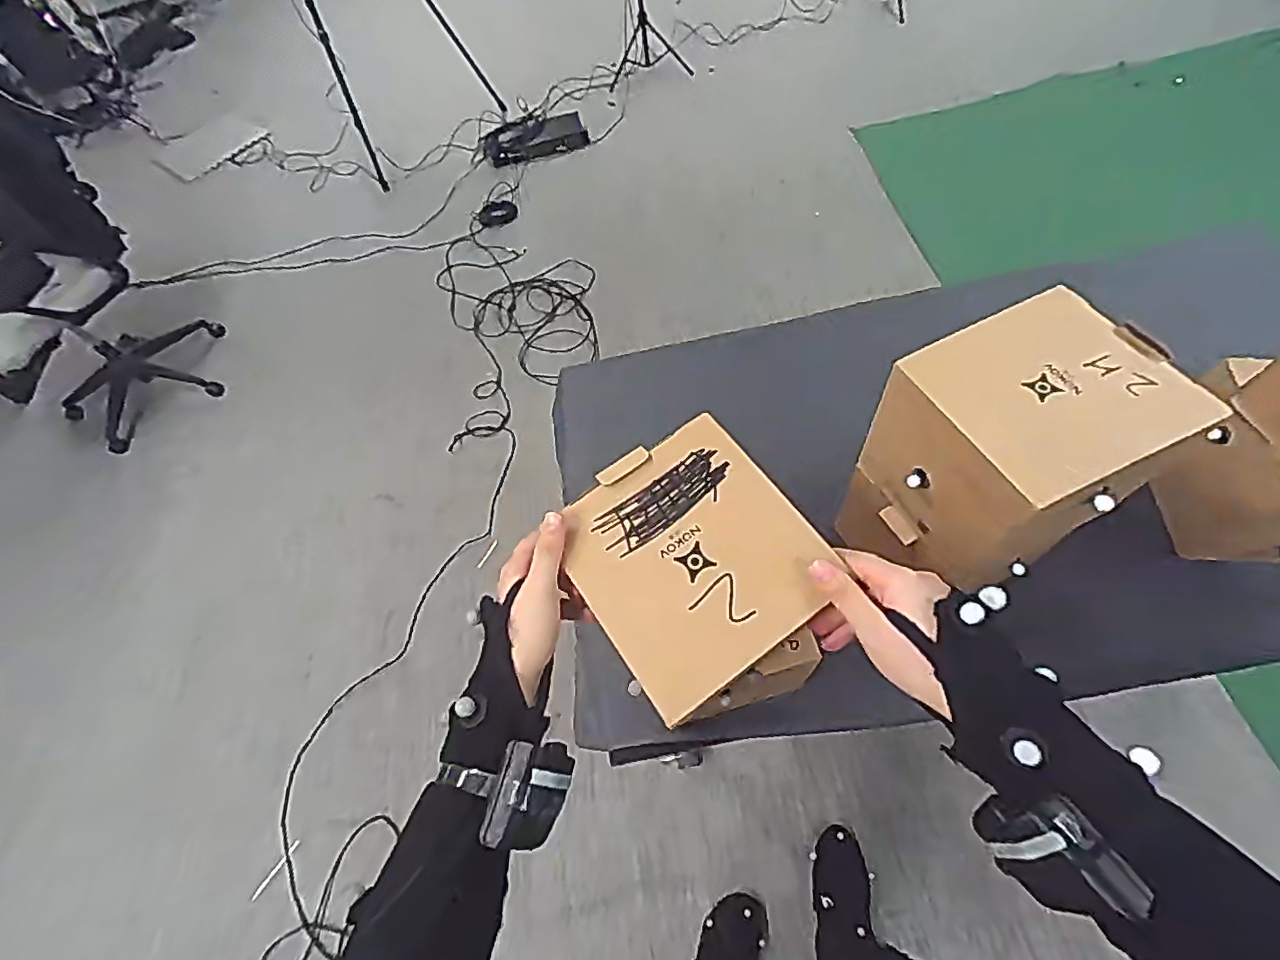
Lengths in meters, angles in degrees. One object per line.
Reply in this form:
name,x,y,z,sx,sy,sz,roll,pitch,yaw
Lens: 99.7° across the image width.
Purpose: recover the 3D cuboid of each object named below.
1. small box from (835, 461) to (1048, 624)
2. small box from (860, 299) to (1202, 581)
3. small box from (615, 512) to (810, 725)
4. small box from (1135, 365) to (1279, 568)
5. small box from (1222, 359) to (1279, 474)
small box,0.357,0.051,0.655,0.179,0.176,0.168,-26,60,-6
small box,0.332,-0.029,0.512,0.179,0.176,0.168,-24,59,-5
small box,0.078,0.168,0.634,0.168,0.176,0.179,-17,59,0
small box,0.723,-0.012,0.623,0.168,0.176,0.179,1,60,11
small box,0.704,-0.073,0.471,0.179,0.176,0.168,-14,58,3
